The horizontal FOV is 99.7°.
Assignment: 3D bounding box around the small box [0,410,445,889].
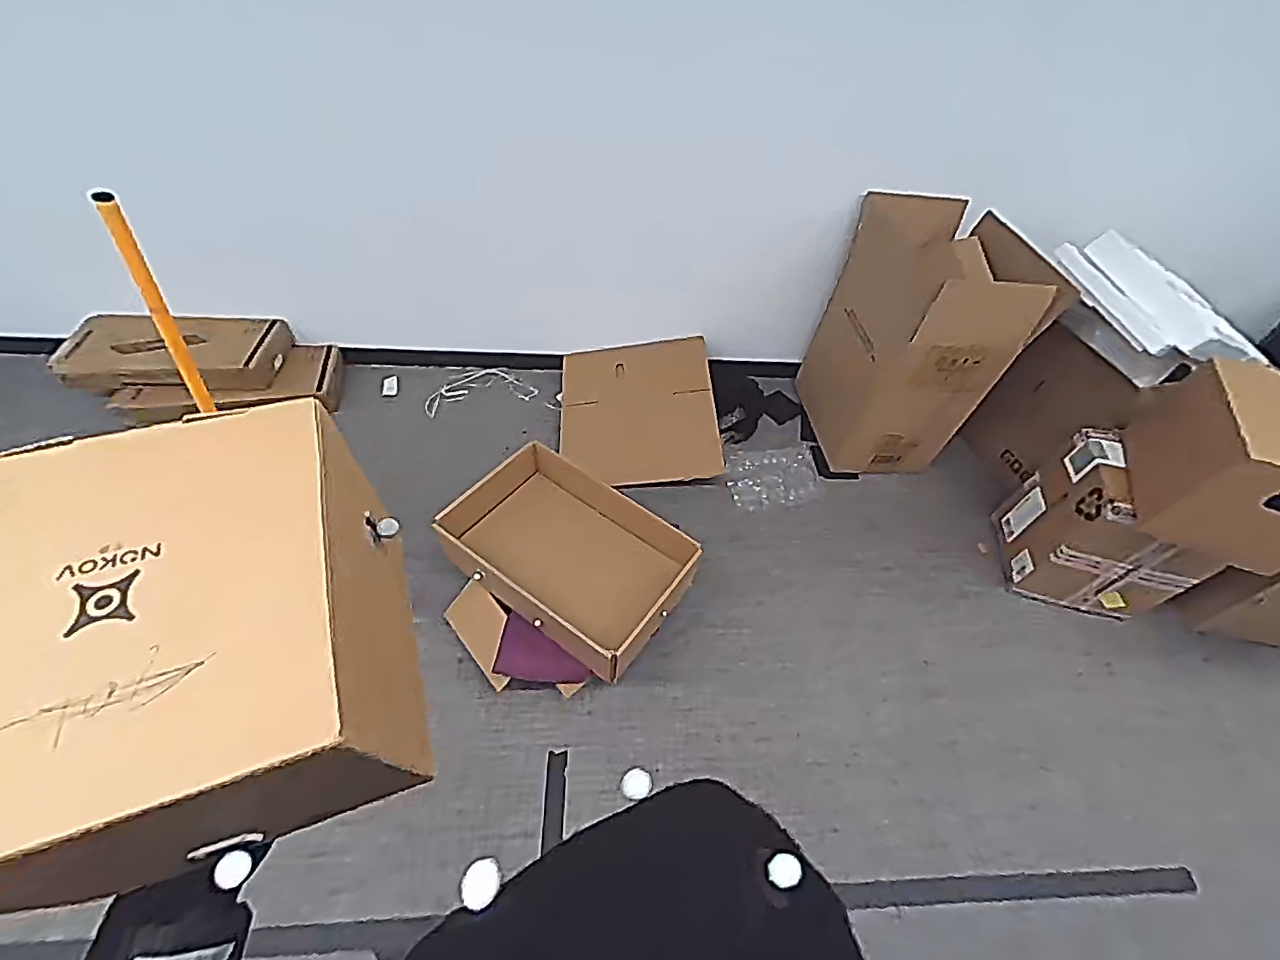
[{"bbox_3d":[-0.217,0.093,0.295,0.168,0.176,0.179,-15,61,-15],"label":"small box"}]
